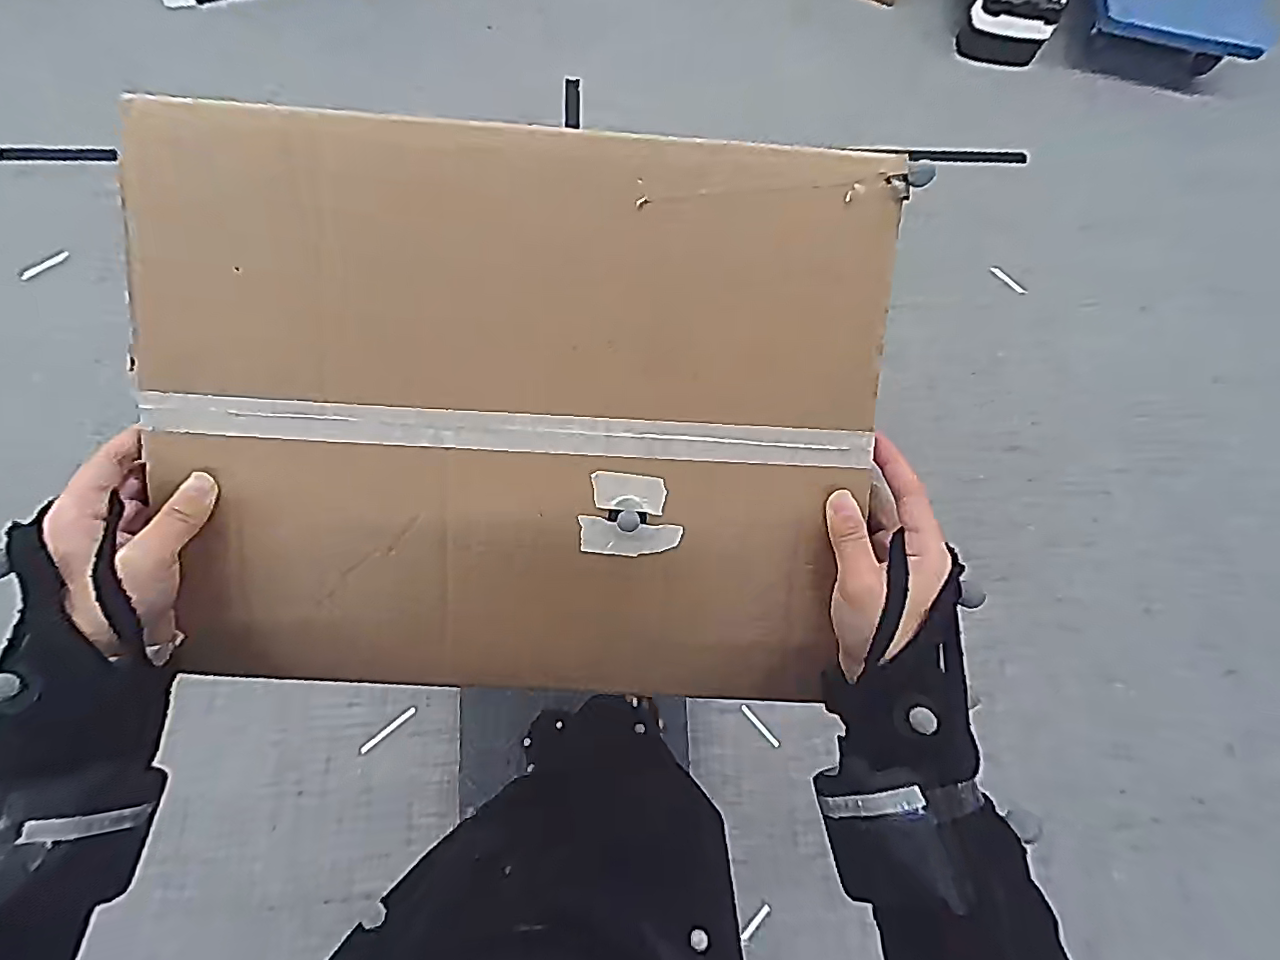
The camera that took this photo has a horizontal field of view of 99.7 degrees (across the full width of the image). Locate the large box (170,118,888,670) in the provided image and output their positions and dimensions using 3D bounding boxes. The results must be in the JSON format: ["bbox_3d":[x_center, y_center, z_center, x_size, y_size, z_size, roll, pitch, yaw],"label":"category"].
[{"bbox_3d":[-0.070,-0.058,0.465,0.408,0.320,0.320,3,99,-2],"label":"large box"}]
